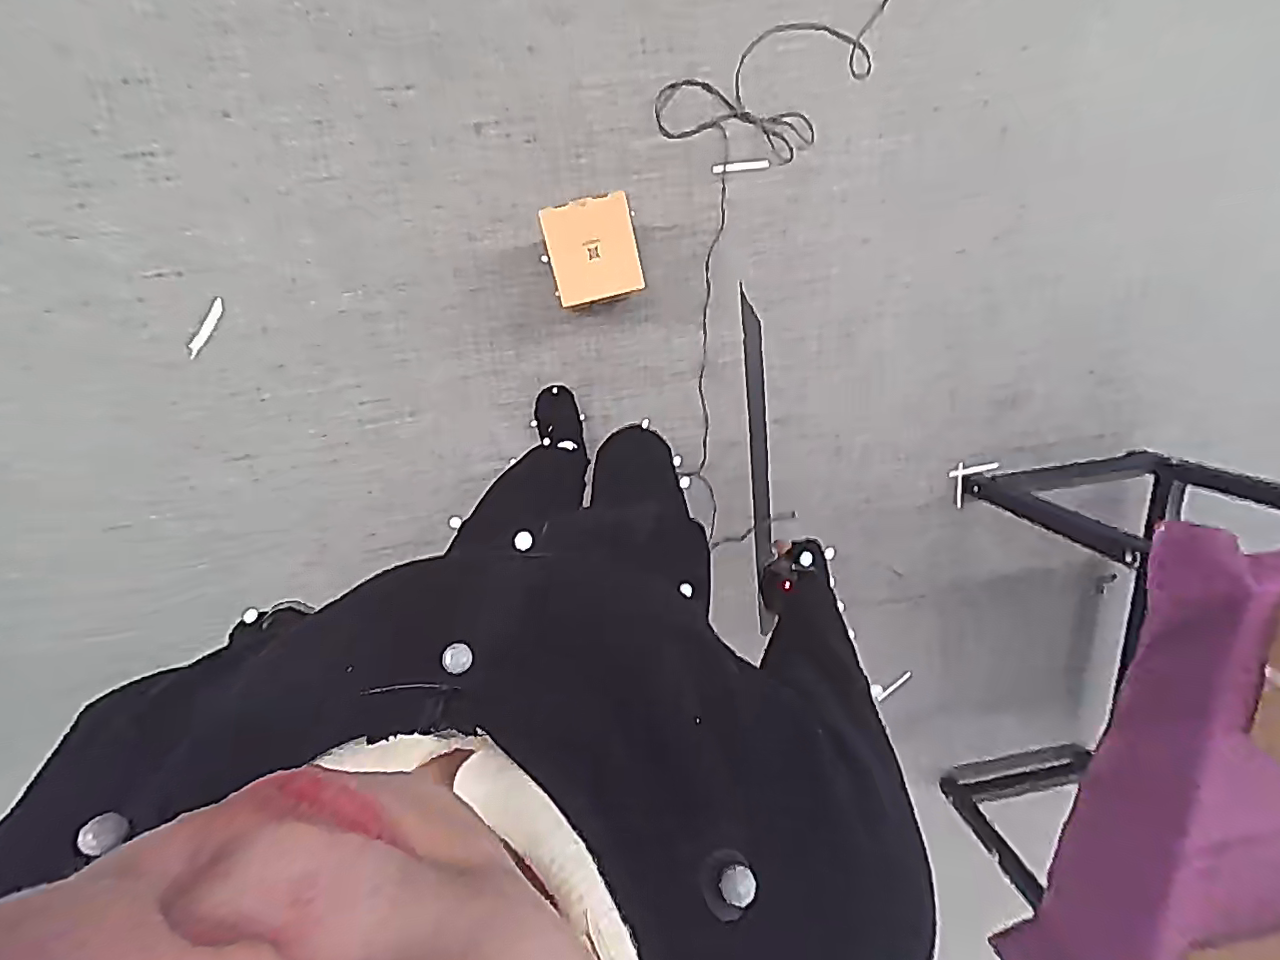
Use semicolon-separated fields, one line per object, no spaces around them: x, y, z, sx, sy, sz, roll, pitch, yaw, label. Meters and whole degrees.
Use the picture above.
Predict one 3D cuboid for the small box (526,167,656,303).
-0.090;-0.466;1.042;0.179;0.176;0.168;-15;90;17;small box
